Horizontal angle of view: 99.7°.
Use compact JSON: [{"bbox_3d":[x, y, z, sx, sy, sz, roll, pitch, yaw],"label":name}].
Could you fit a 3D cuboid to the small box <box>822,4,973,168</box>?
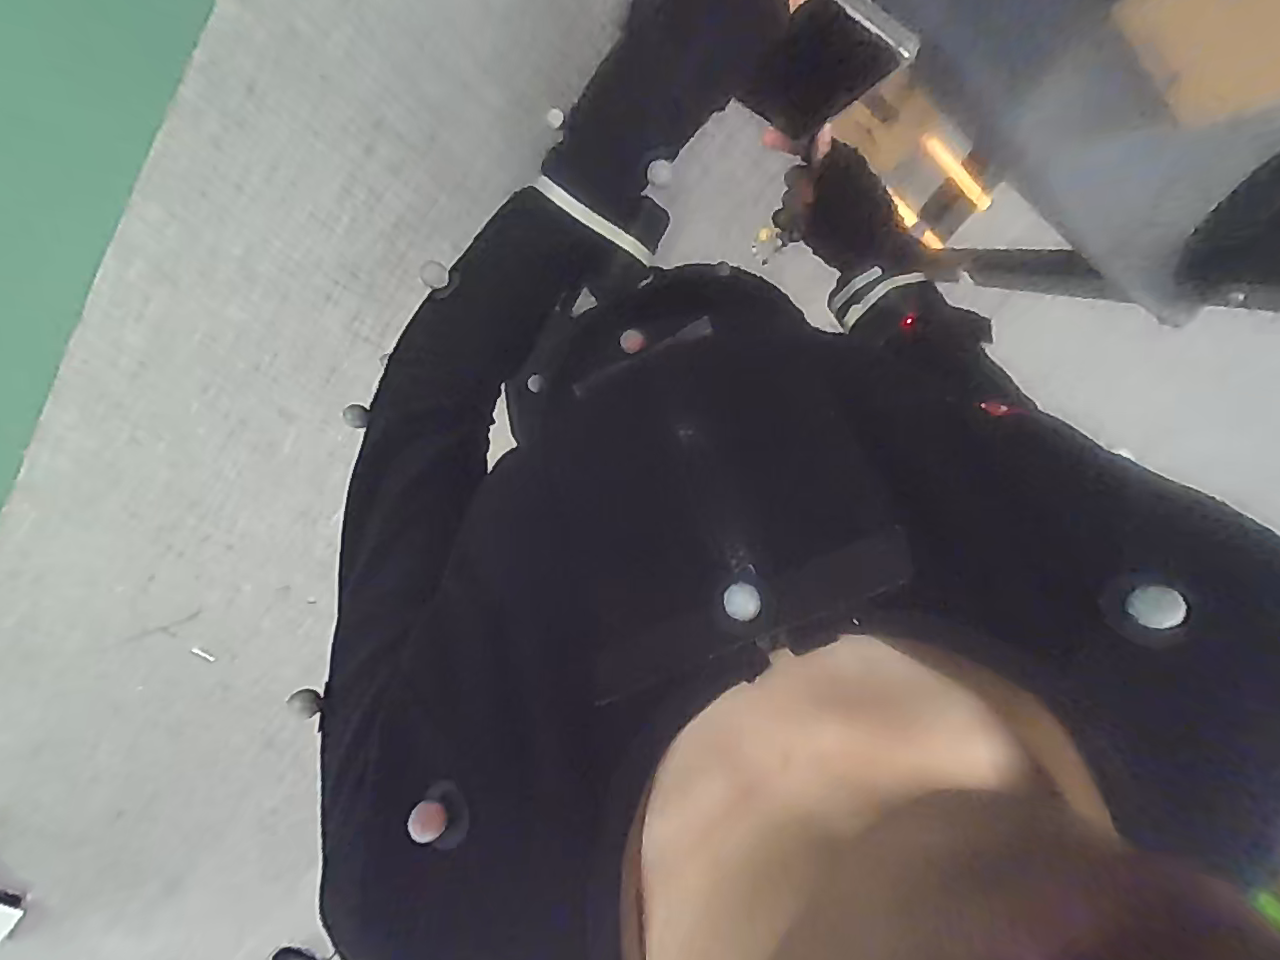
[{"bbox_3d":[0.475,-0.732,1.033,0.168,0.176,0.179,38,107,-18],"label":"small box"}]
